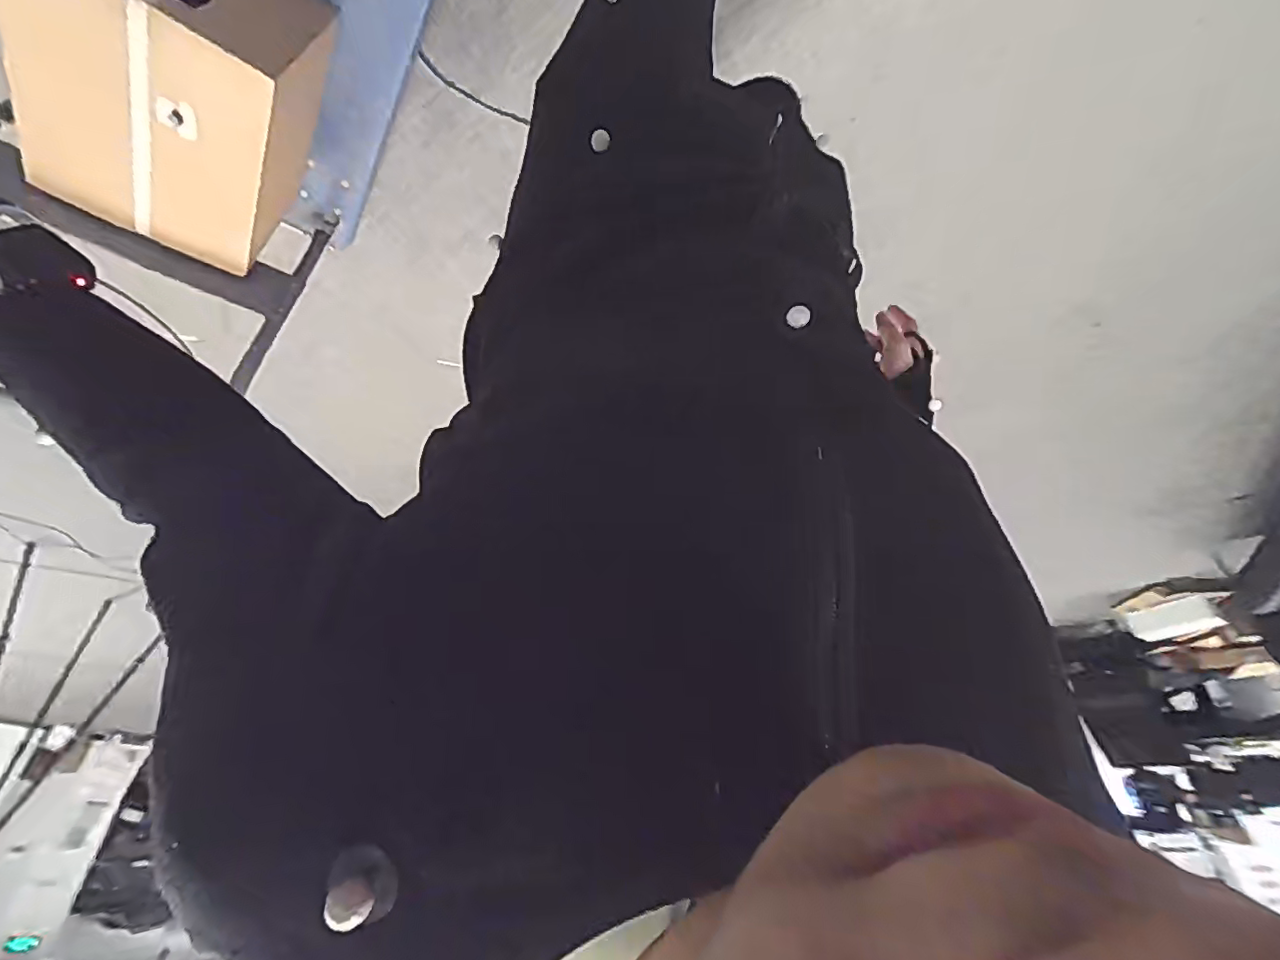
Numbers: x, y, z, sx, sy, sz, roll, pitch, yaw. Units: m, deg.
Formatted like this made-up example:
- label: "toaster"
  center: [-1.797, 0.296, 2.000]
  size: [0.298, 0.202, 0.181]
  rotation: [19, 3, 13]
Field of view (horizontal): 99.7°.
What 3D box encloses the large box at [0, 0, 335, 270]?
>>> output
- label: "large box"
  center: [-0.764, -0.661, 0.911]
  size: [0.320, 0.320, 0.408]
  rotation: [22, 138, -30]
